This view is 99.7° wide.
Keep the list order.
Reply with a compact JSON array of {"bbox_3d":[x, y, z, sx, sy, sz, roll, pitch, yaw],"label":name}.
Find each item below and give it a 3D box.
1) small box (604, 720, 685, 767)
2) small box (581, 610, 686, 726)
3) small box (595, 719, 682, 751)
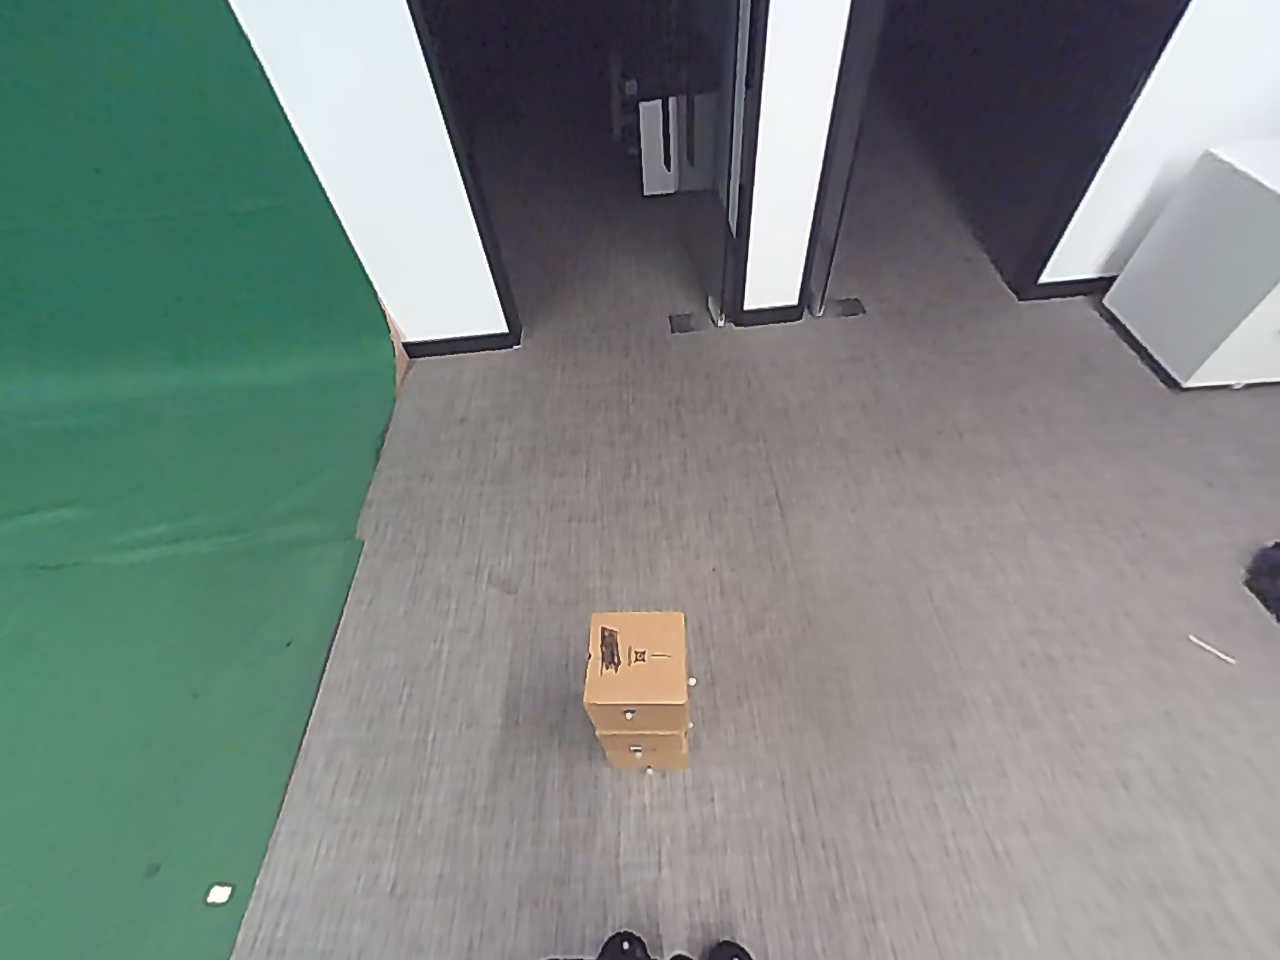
[{"bbox_3d":[0.016,0.566,1.268,0.179,0.176,0.168,-1,51,4],"label":"small box"},{"bbox_3d":[-0.004,0.357,1.018,0.179,0.176,0.168,-2,51,5],"label":"small box"},{"bbox_3d":[0.003,0.460,1.146,0.168,0.176,0.179,-3,52,5],"label":"small box"}]
